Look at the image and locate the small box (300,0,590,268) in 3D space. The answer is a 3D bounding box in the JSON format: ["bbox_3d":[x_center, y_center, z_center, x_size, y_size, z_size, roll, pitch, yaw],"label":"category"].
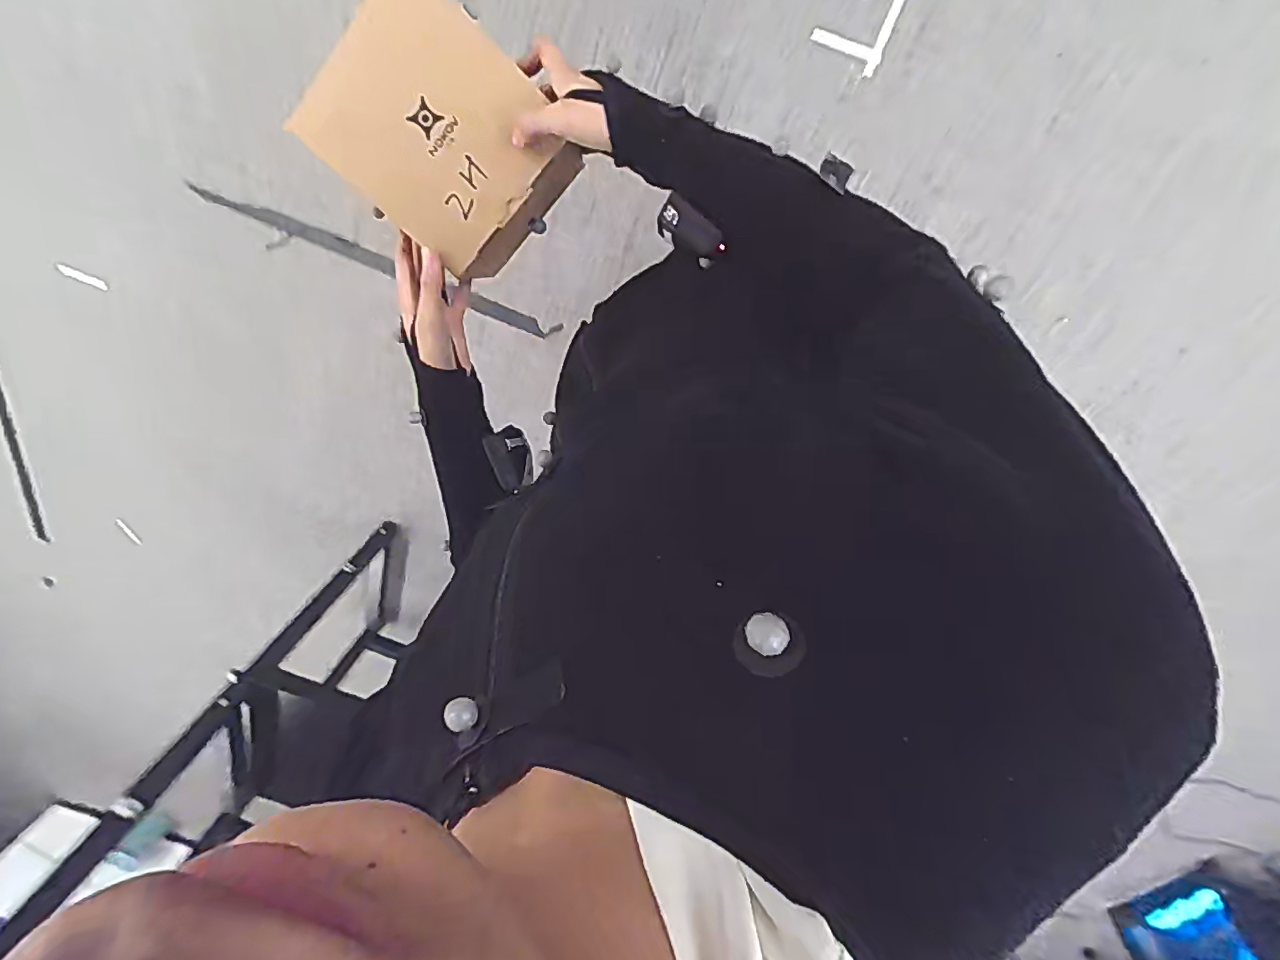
[{"bbox_3d":[-0.165,-0.325,0.518,0.179,0.176,0.168,41,105,-18],"label":"small box"}]
